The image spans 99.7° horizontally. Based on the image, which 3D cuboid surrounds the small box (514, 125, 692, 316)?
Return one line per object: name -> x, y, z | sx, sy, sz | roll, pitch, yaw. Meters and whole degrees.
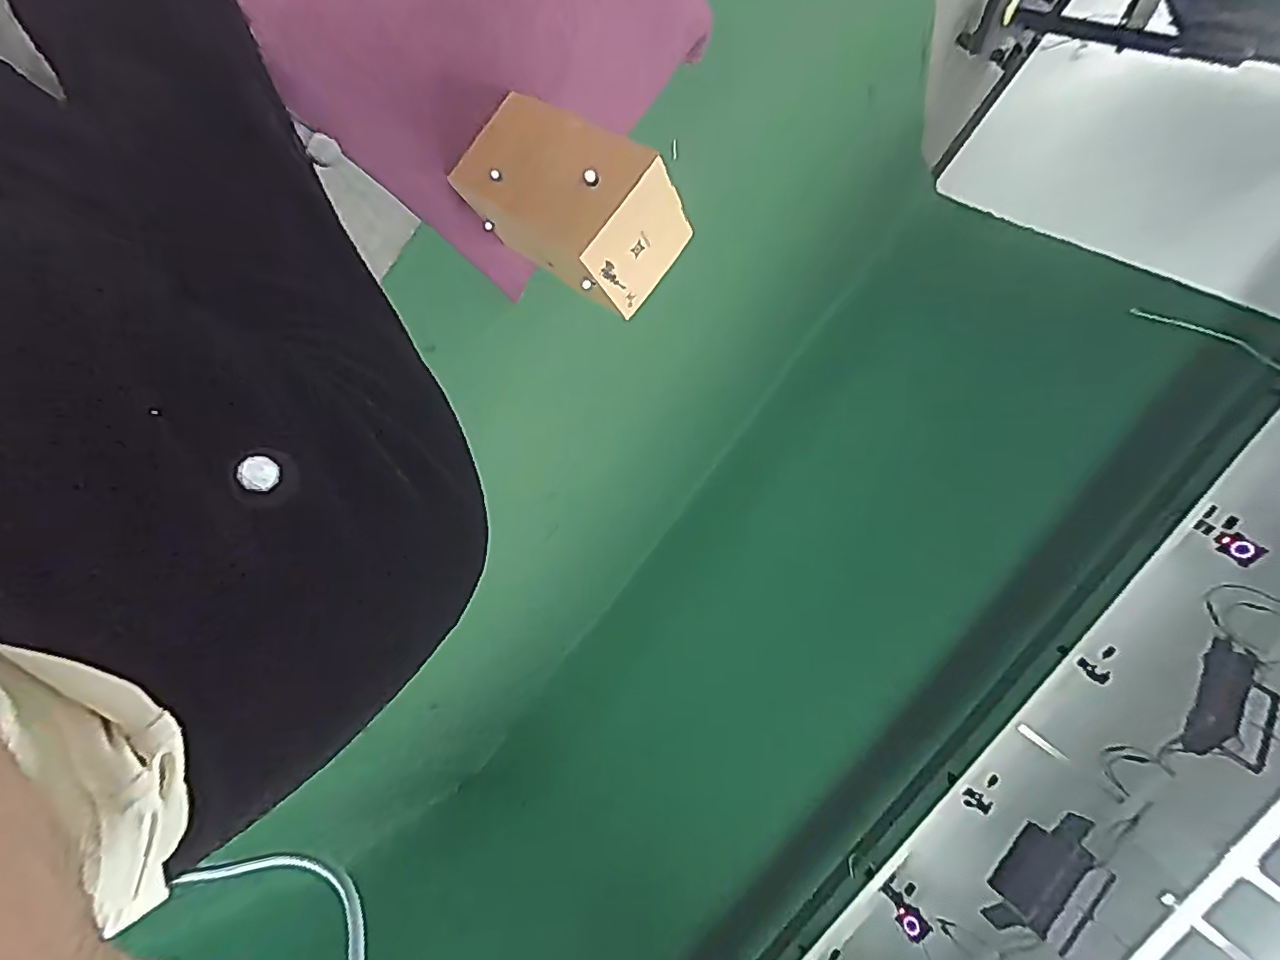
small box -> -0.055, -0.391, 0.816 | 0.179, 0.176, 0.168 | -53, 153, 2
